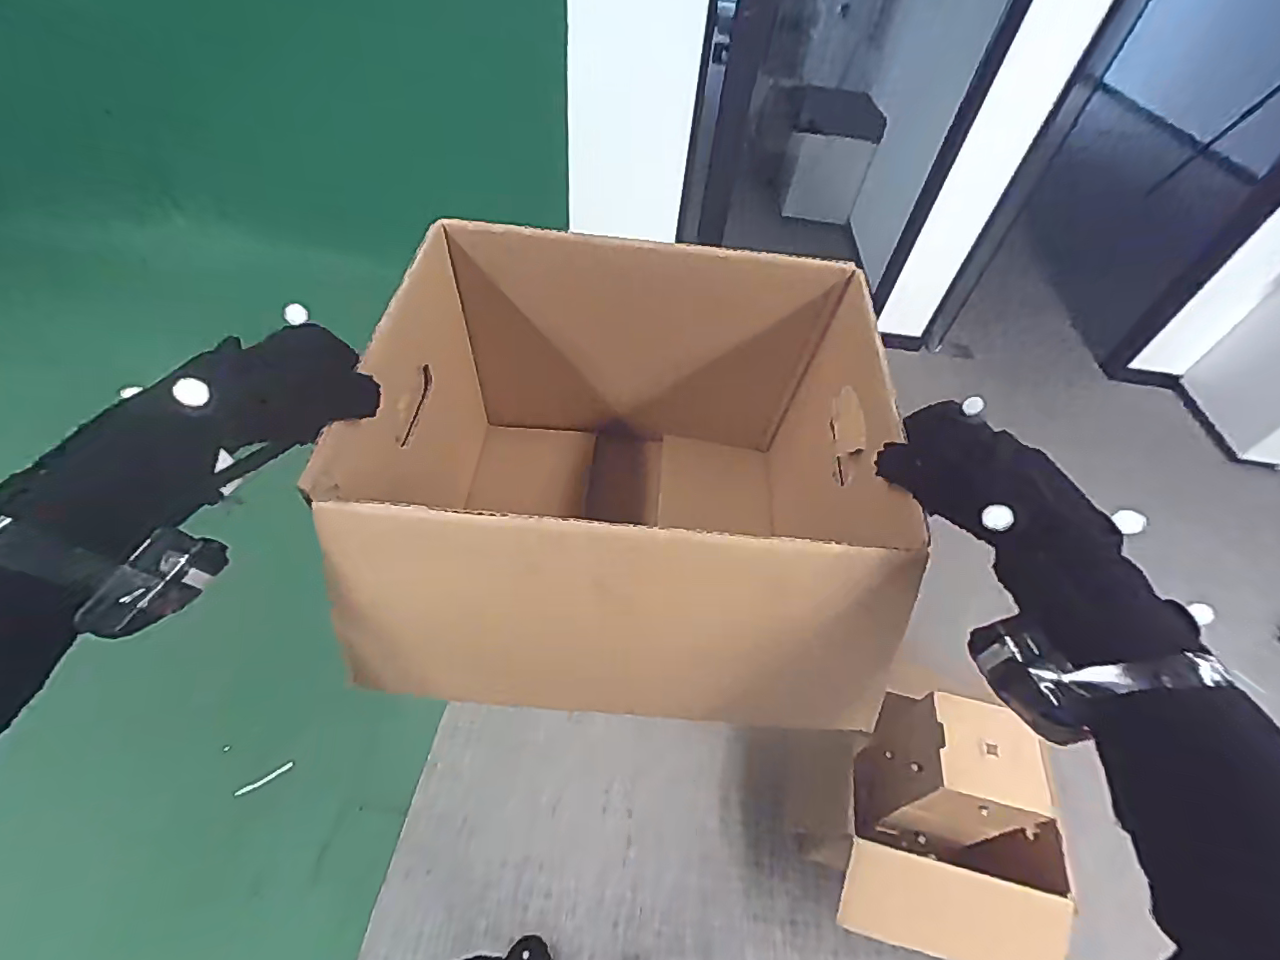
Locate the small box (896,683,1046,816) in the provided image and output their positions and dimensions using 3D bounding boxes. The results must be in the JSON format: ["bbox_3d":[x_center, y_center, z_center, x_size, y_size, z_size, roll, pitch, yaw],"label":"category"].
[{"bbox_3d":[0.594,0.505,1.004,0.179,0.176,0.168,11,51,5],"label":"small box"}]
